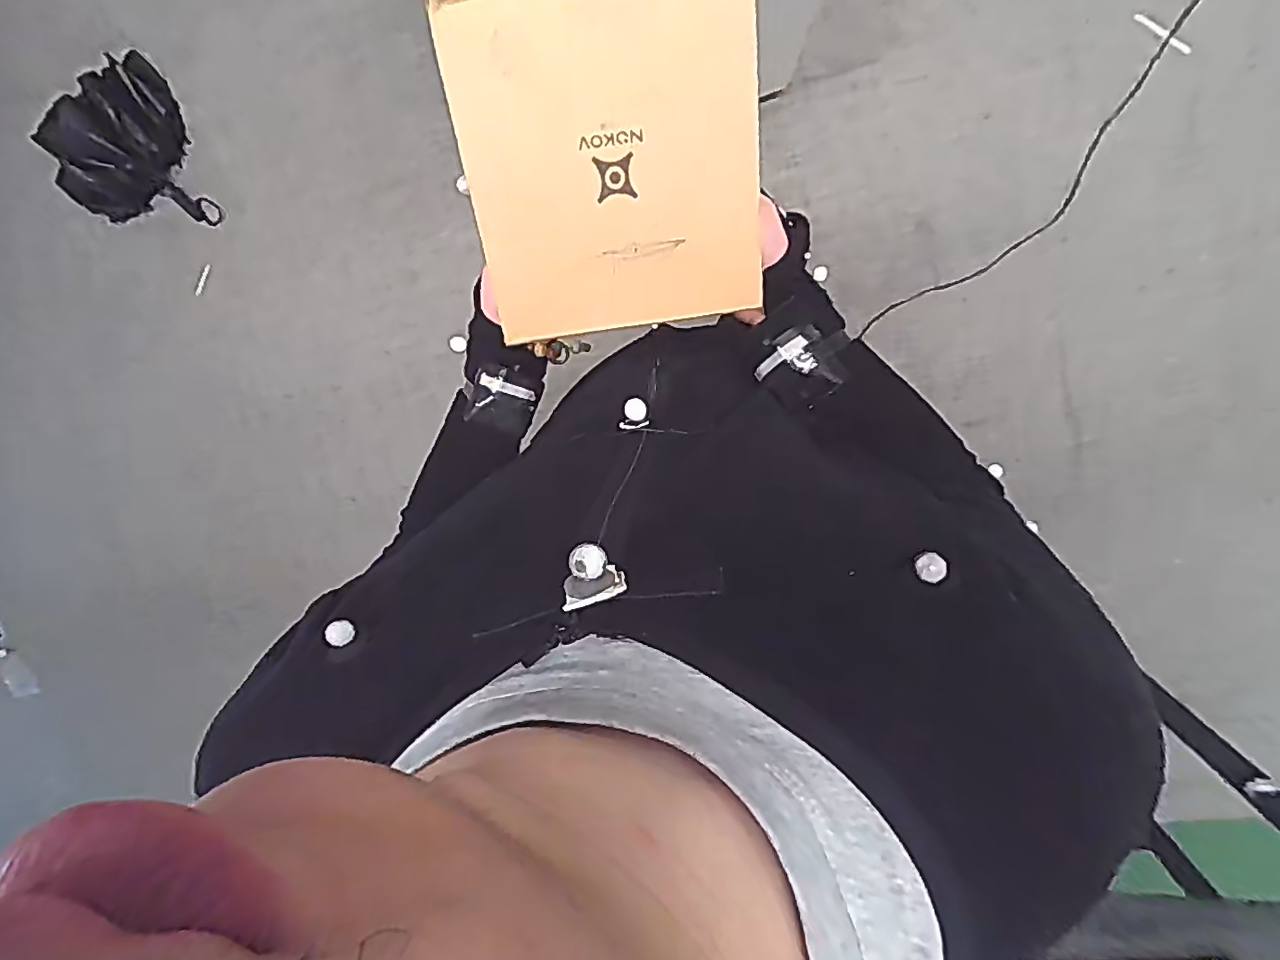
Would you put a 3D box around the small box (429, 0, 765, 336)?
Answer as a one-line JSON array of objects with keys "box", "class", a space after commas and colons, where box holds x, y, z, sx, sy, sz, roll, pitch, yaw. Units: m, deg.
[{"box": [-0.019, -0.212, 0.370, 0.168, 0.176, 0.179, -9, 117, 1], "class": "small box"}]
